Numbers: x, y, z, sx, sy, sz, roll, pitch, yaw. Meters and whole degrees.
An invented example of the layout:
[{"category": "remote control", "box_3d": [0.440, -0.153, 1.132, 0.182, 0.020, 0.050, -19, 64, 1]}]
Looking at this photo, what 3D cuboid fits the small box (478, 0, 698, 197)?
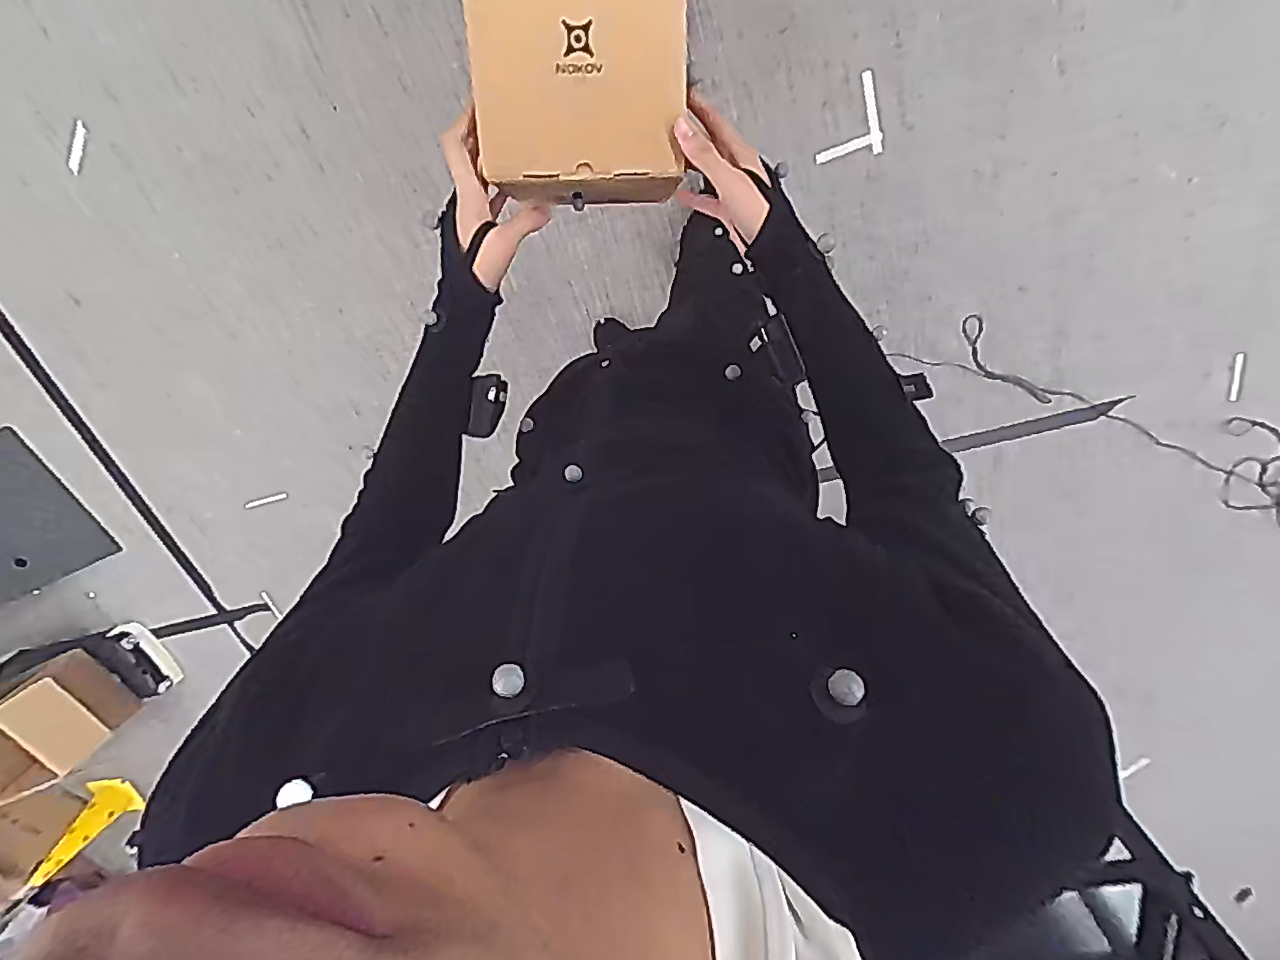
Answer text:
[{"category": "small box", "box_3d": [-0.043, -0.361, 0.480, 0.168, 0.176, 0.179, -3, 112, -2]}]
